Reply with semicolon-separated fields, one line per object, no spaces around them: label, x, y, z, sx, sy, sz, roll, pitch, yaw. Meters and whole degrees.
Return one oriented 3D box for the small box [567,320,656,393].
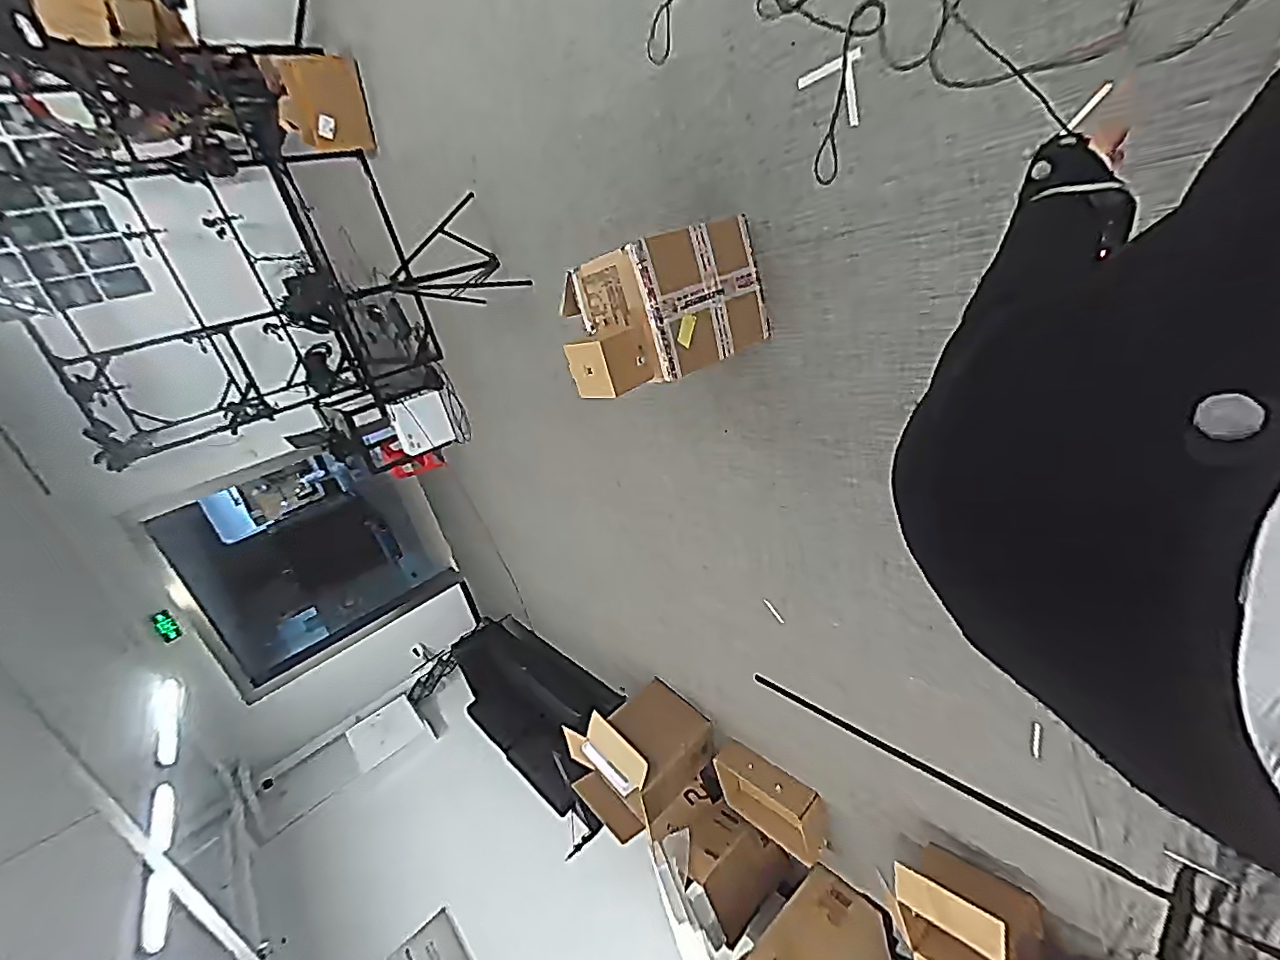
small box;-0.081;-0.362;1.593;0.179;0.176;0.168;8;124;46
